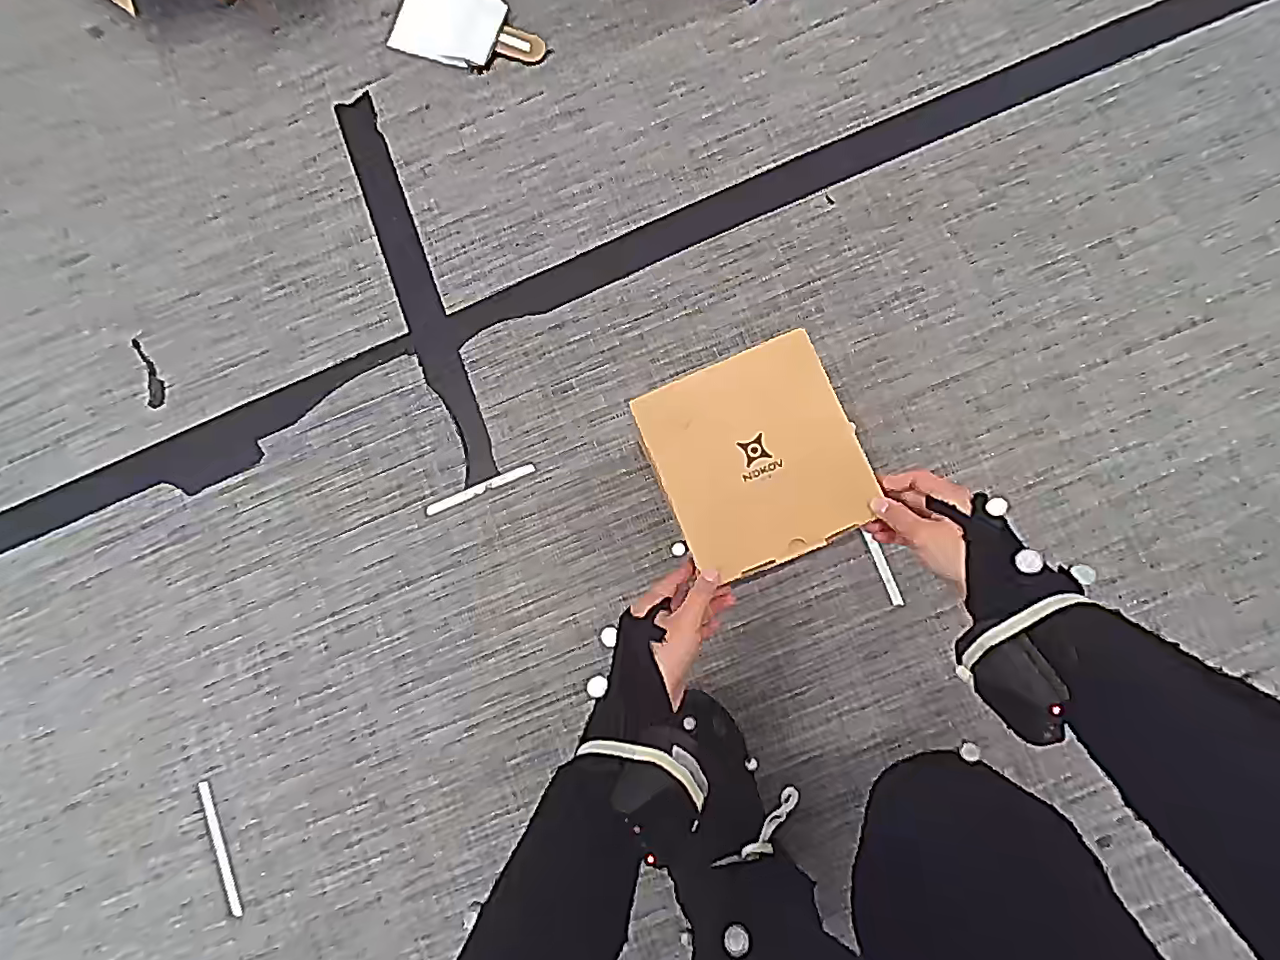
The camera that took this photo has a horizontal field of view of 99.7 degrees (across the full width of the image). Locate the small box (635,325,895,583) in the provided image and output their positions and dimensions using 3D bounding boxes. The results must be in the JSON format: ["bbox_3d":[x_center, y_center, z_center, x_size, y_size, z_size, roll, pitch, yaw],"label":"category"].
[{"bbox_3d":[0.103,-0.015,0.526,0.168,0.176,0.179,-23,84,0],"label":"small box"}]
